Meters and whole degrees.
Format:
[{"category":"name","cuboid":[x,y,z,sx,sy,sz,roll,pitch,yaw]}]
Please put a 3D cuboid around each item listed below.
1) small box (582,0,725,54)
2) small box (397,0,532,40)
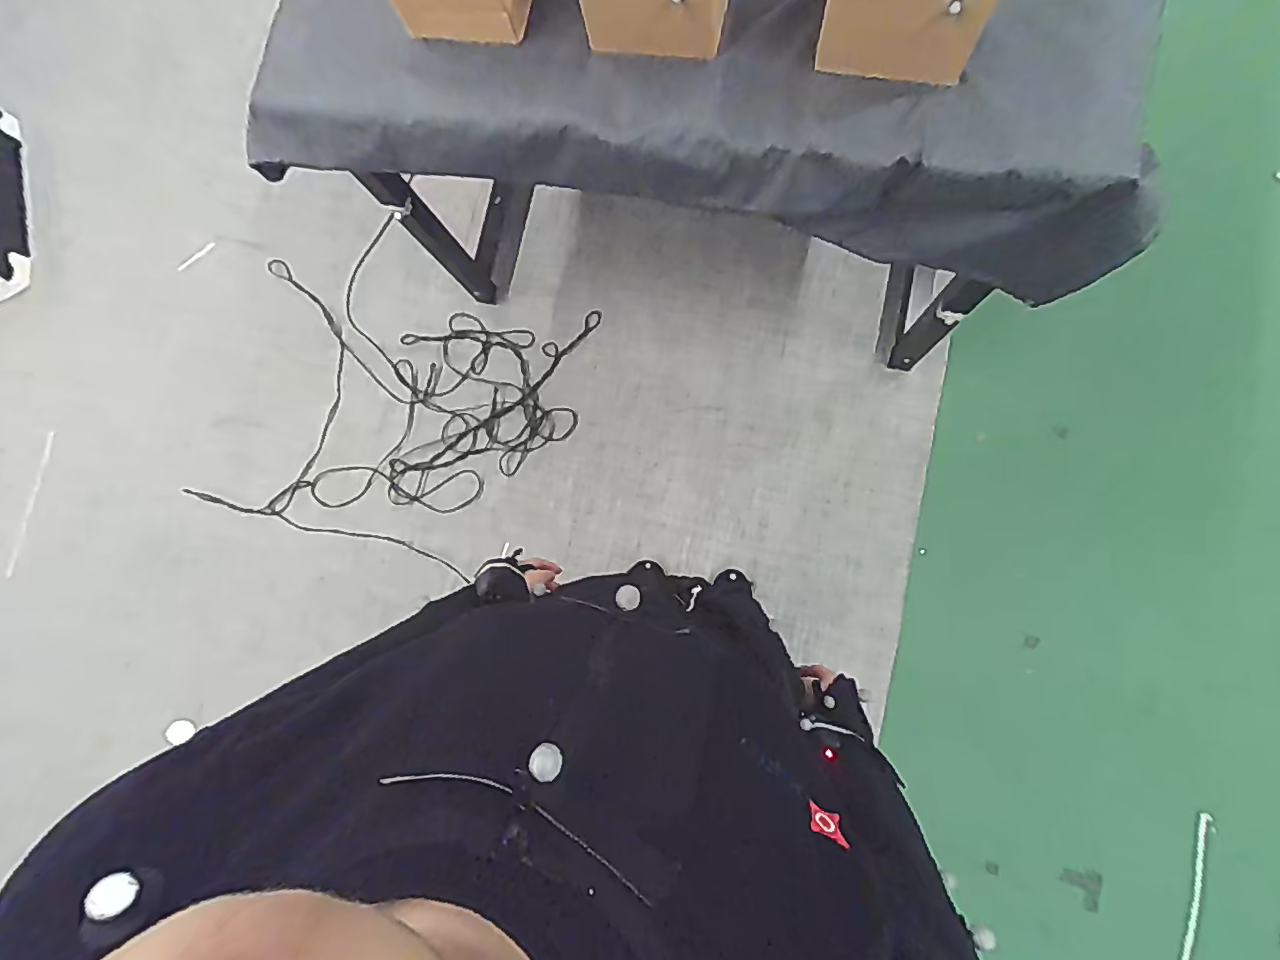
[{"category":"small box","cuboid":[0.023,-0.667,0.662,0.179,0.176,0.168,11,83,11]},{"category":"small box","cuboid":[-0.247,-0.727,0.710,0.179,0.176,0.168,10,84,9]}]
